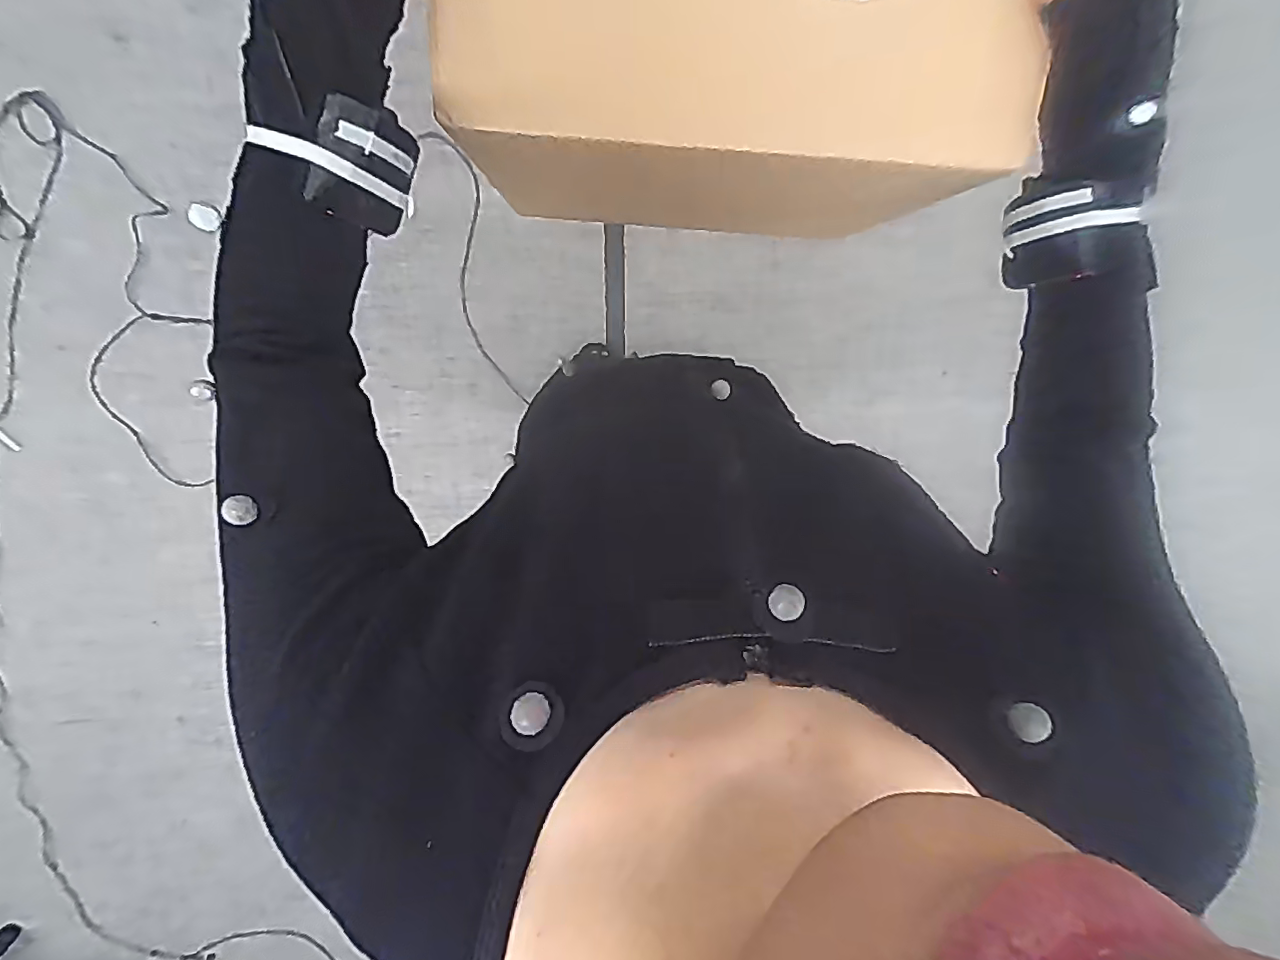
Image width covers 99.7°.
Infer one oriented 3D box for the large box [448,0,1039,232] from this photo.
[{"bbox_3d":[0.065,-0.421,0.482,0.408,0.320,0.320,2,106,-4],"label":"large box"}]
